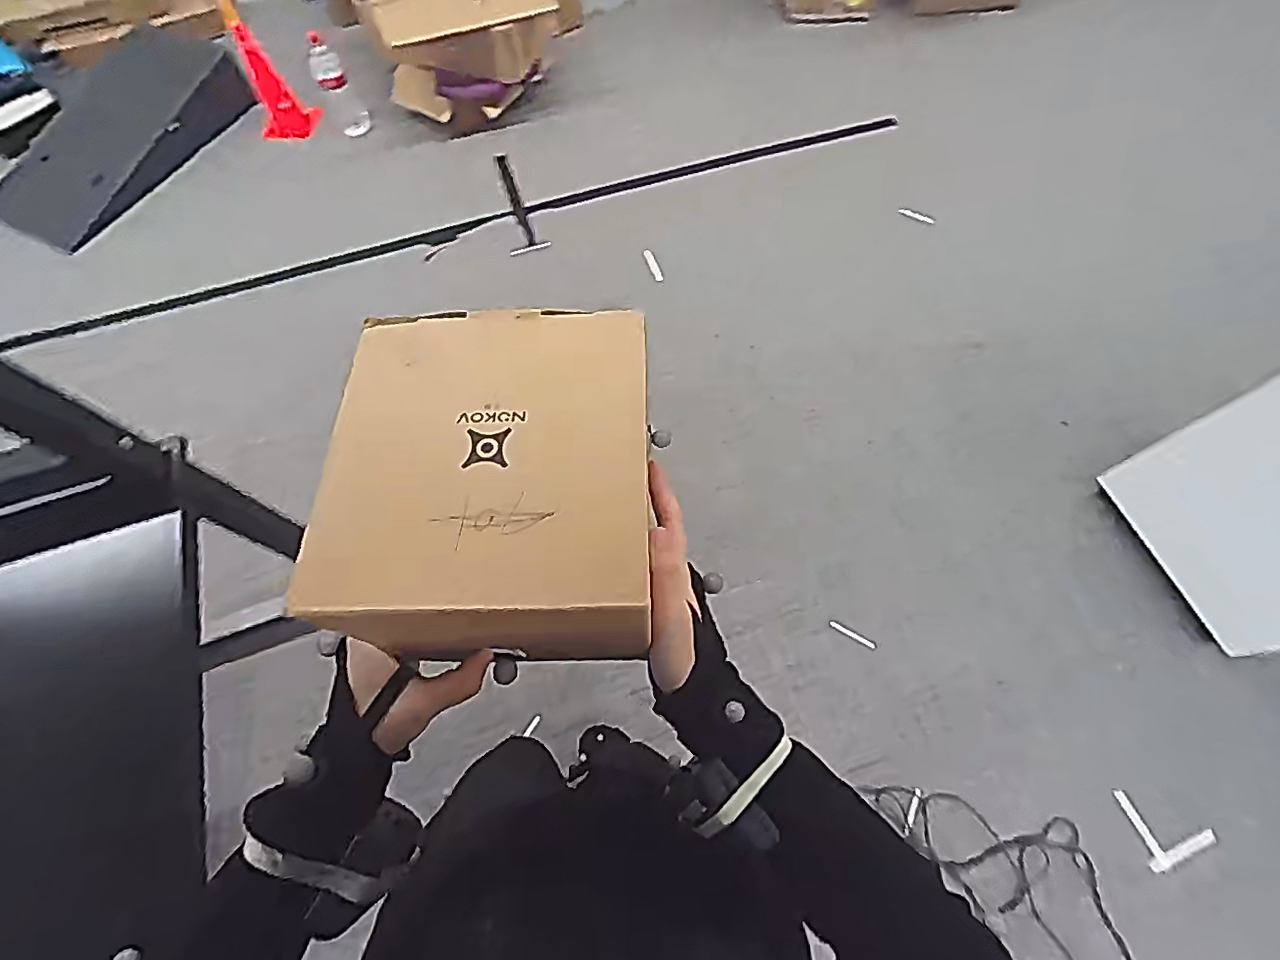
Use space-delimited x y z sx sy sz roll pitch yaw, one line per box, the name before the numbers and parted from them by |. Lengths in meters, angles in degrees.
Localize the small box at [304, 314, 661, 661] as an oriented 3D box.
small box | -0.071 0.015 0.353 0.168 0.176 0.179 -1 64 1
